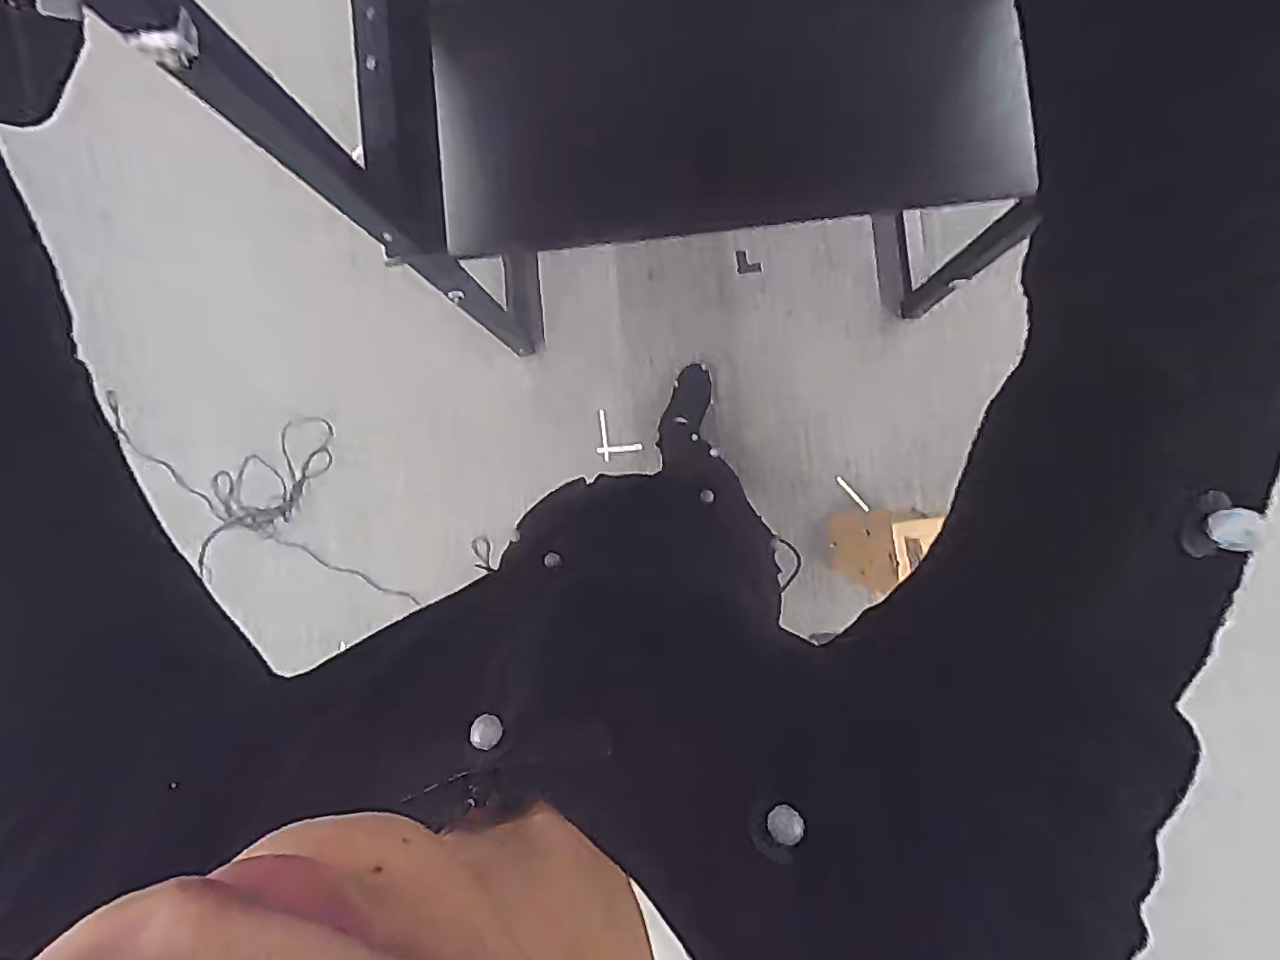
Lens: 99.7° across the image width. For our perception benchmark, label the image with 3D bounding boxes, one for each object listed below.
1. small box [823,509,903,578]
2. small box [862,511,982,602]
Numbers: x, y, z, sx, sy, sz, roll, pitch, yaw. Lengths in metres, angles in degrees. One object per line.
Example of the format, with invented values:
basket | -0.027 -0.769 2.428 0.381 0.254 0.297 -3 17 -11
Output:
small box | 0.621 0.170 1.488 0.179 0.176 0.168 -5 89 4
small box | 0.592 0.157 1.160 0.179 0.176 0.168 -6 90 3
